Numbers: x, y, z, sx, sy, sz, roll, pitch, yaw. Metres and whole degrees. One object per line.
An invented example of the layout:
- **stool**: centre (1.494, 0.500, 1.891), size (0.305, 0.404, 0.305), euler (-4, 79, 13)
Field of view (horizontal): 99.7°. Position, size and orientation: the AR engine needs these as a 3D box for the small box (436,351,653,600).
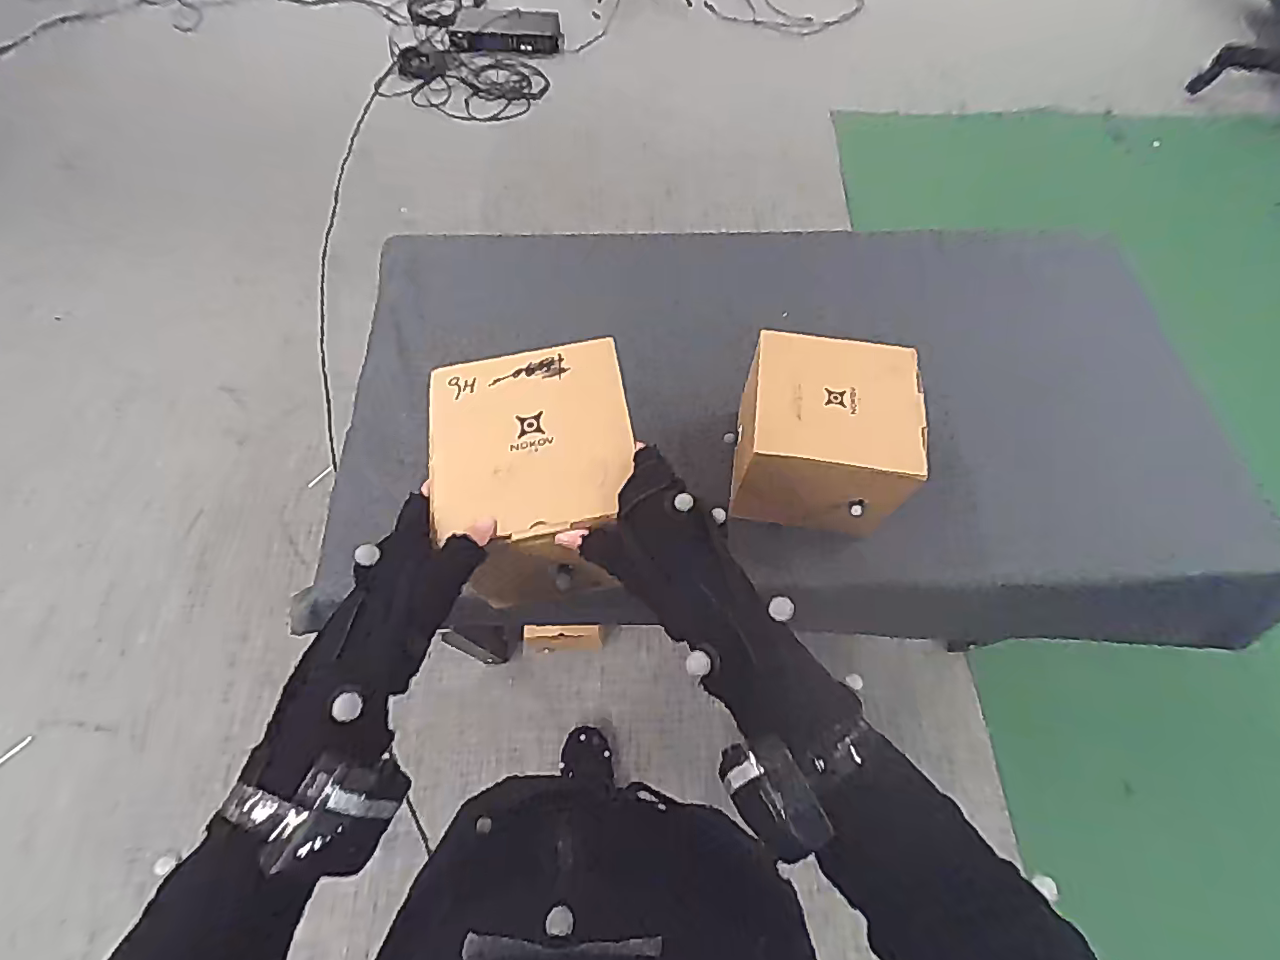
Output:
- **small box**: centre (-0.082, 0.008, 0.520), size (0.168, 0.176, 0.179), euler (-10, 63, -2)
